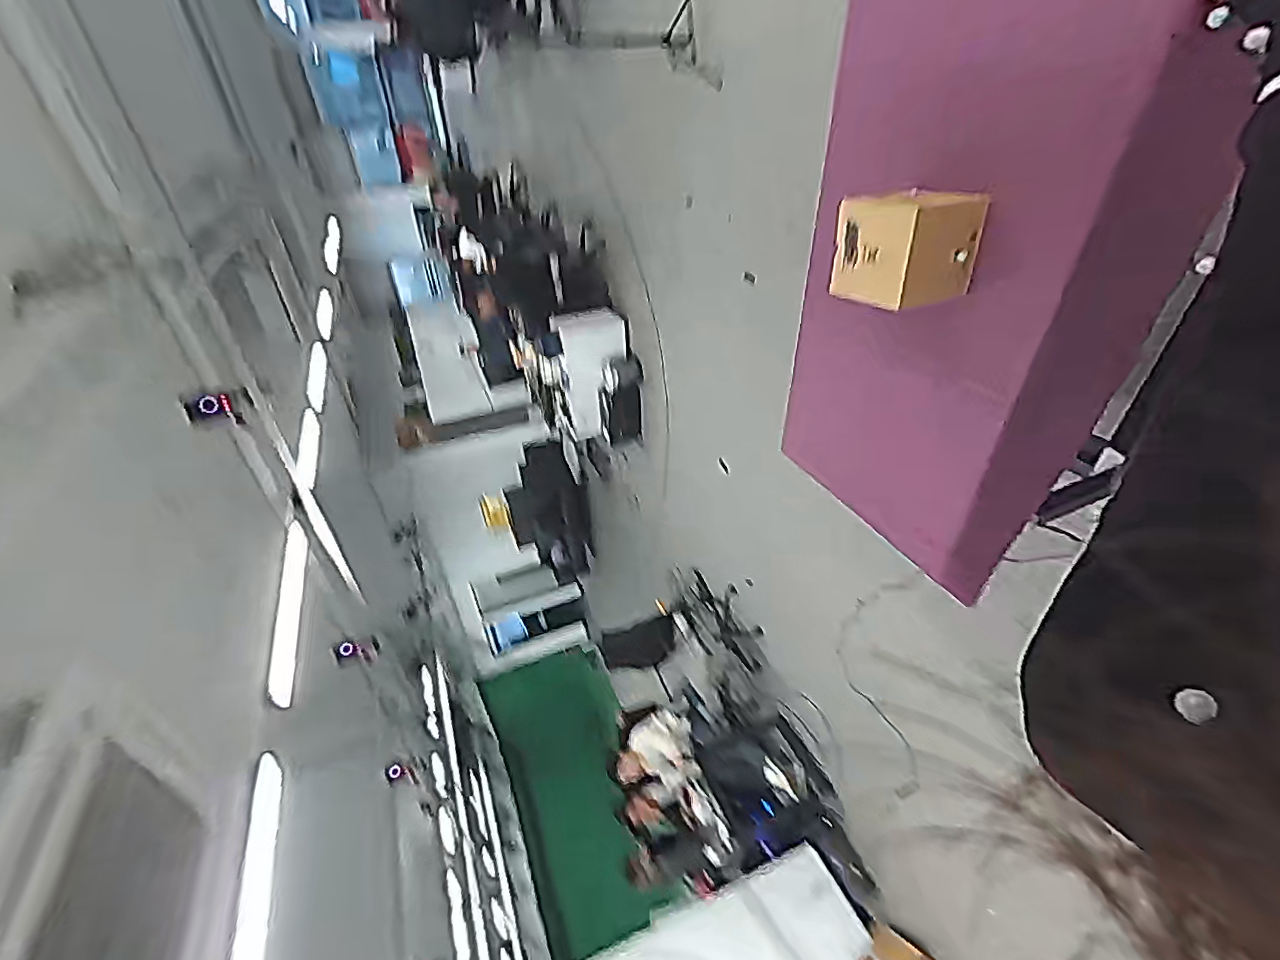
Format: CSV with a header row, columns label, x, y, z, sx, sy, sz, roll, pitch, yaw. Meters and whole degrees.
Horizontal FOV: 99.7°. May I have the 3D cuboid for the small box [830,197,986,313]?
label,x,y,z,sx,sy,sz,roll,pitch,yaw
small box,0.485,-0.420,0.998,0.179,0.176,0.168,-132,31,-52
